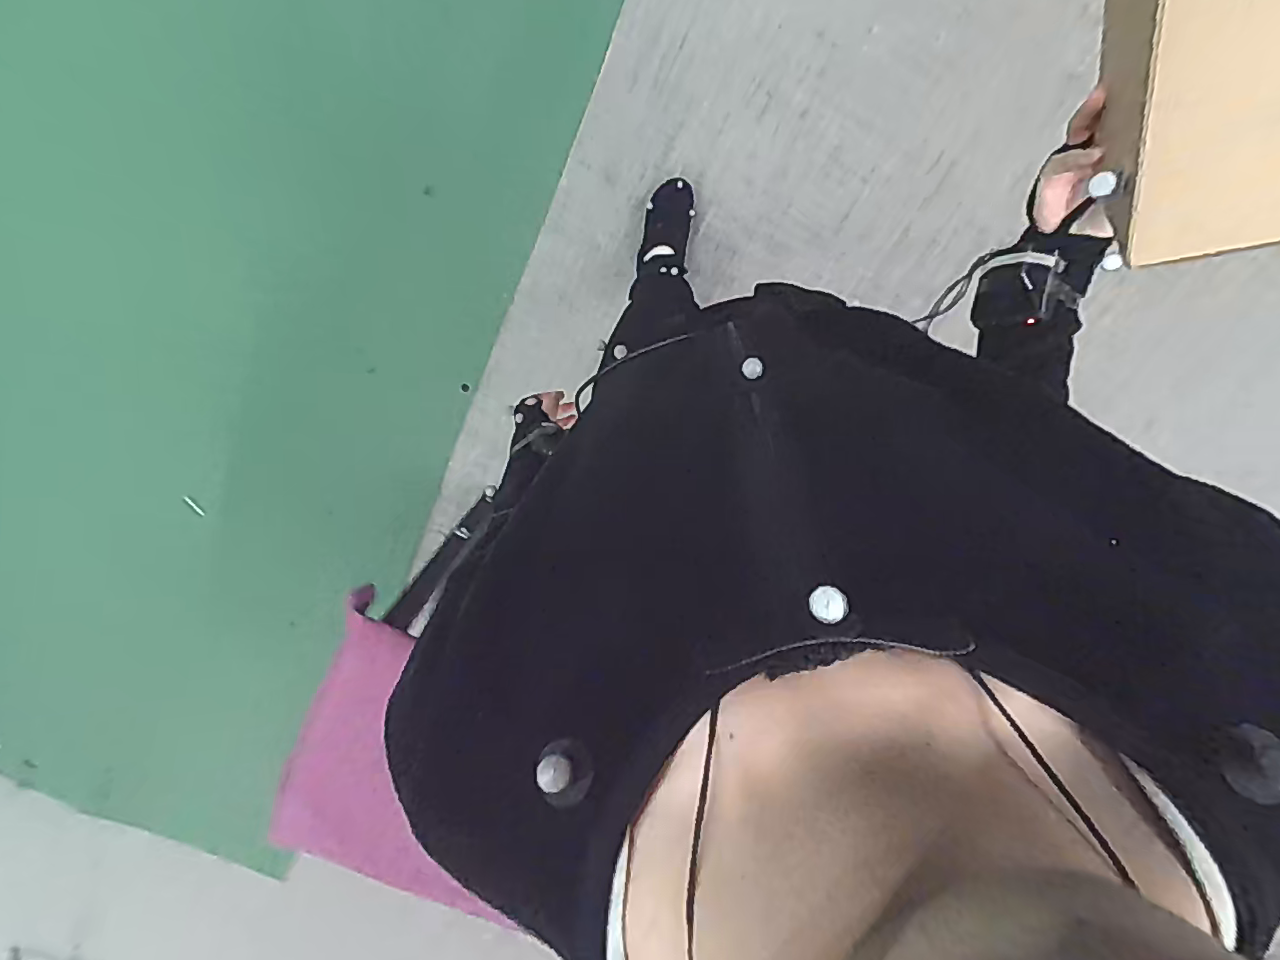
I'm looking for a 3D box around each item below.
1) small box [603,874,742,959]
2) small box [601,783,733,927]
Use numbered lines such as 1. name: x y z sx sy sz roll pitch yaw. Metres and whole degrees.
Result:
1. small box: 0.044 0.744 0.818 0.168 0.176 0.179 27 113 -8
2. small box: 0.049 0.695 0.974 0.168 0.176 0.179 27 112 -8
